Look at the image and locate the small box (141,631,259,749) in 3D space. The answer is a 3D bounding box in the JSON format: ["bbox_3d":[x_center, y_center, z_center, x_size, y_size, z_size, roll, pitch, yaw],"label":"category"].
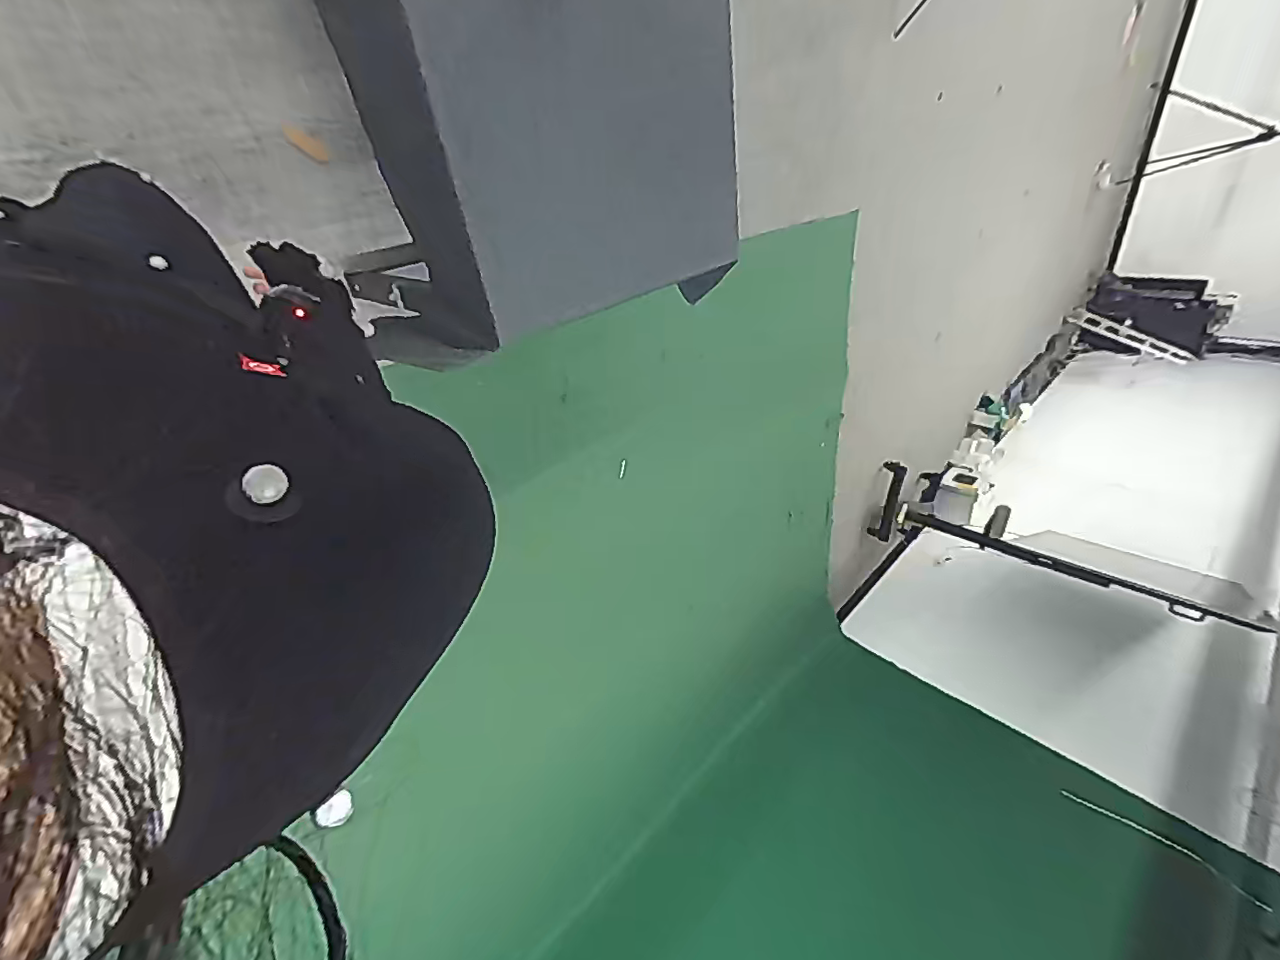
[{"bbox_3d":[-1.056,0.489,1.297,0.168,0.176,0.179,-27,126,-34],"label":"small box"}]
